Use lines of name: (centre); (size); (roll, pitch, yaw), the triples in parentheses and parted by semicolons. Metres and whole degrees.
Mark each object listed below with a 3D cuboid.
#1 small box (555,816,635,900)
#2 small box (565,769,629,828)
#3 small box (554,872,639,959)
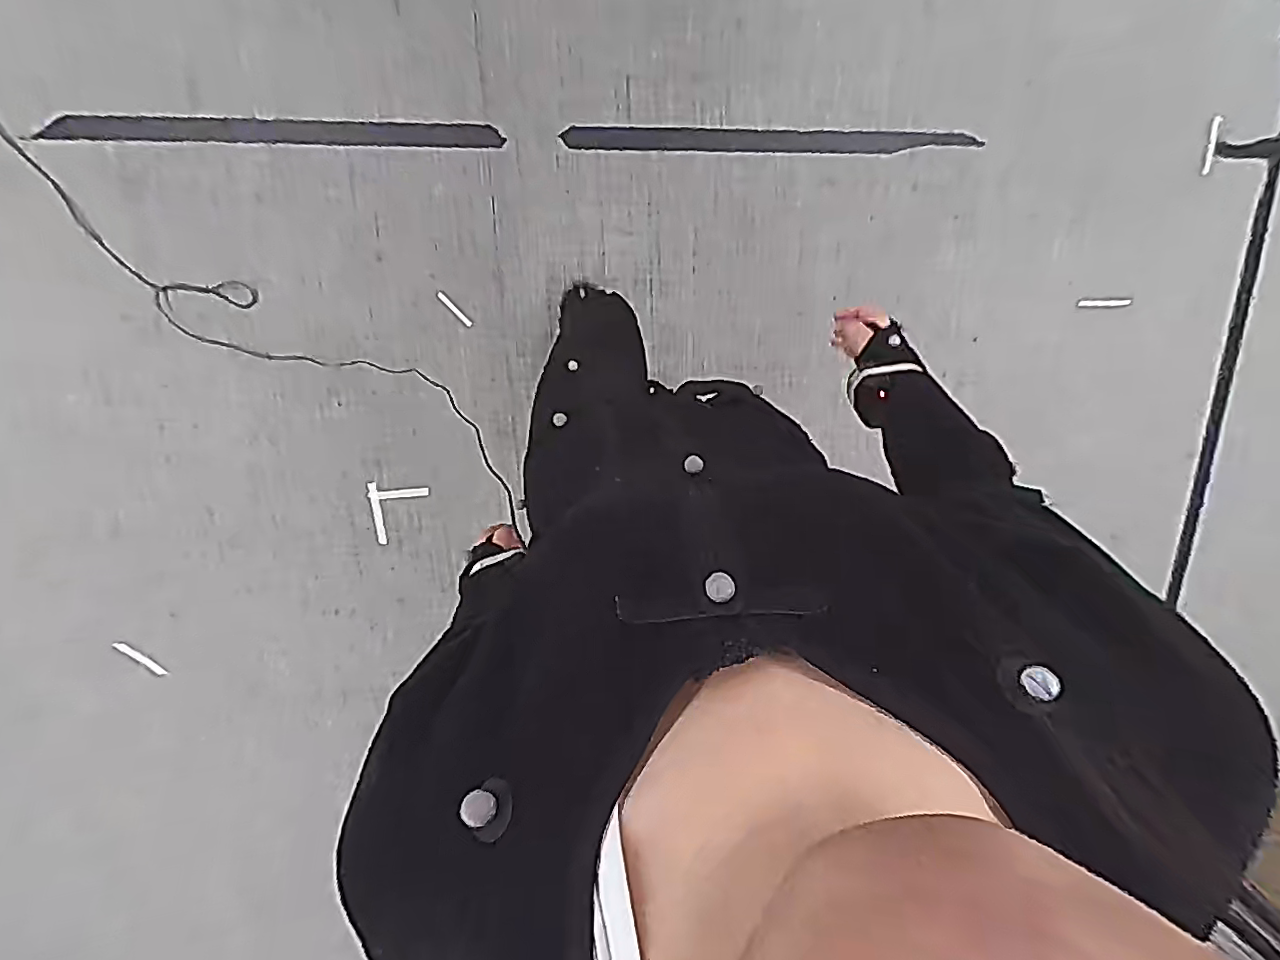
small box: (-0.105, 0.962, 1.324); (0.179, 0.176, 0.168); (-5, 104, -3)
small box: (-0.114, 0.921, 1.480); (0.168, 0.176, 0.179); (-5, 105, -2)
small box: (-0.088, 0.994, 1.163); (0.168, 0.176, 0.179); (-6, 104, -3)
